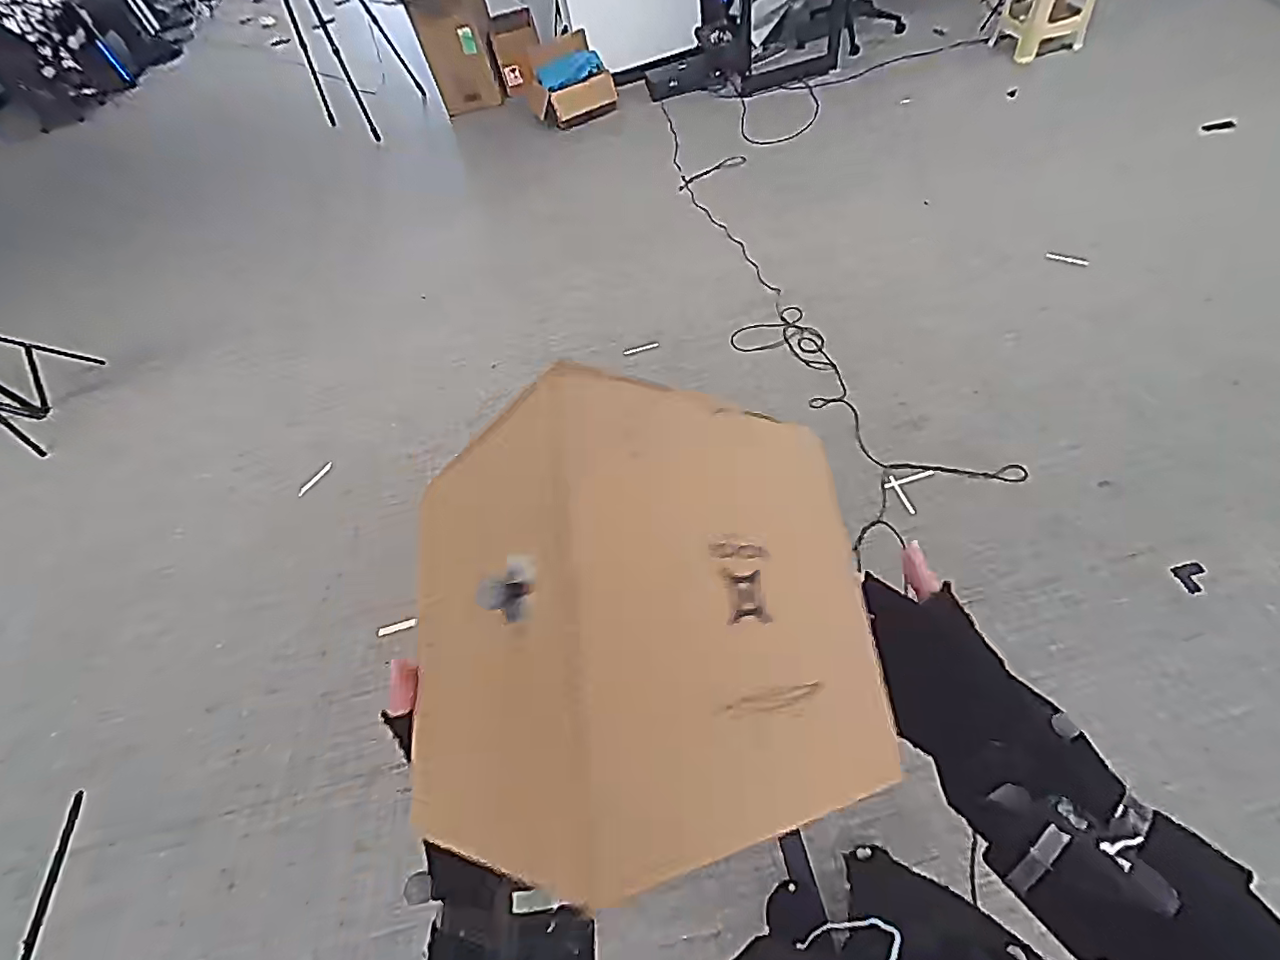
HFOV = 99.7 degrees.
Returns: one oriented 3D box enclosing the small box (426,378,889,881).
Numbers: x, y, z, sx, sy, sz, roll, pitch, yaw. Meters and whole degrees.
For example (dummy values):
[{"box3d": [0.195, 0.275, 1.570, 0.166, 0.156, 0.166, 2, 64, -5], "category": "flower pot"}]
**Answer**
[{"box3d": [-0.005, 0.077, 0.291, 0.176, 0.168, 0.179, -28, 60, 46], "category": "small box"}]
